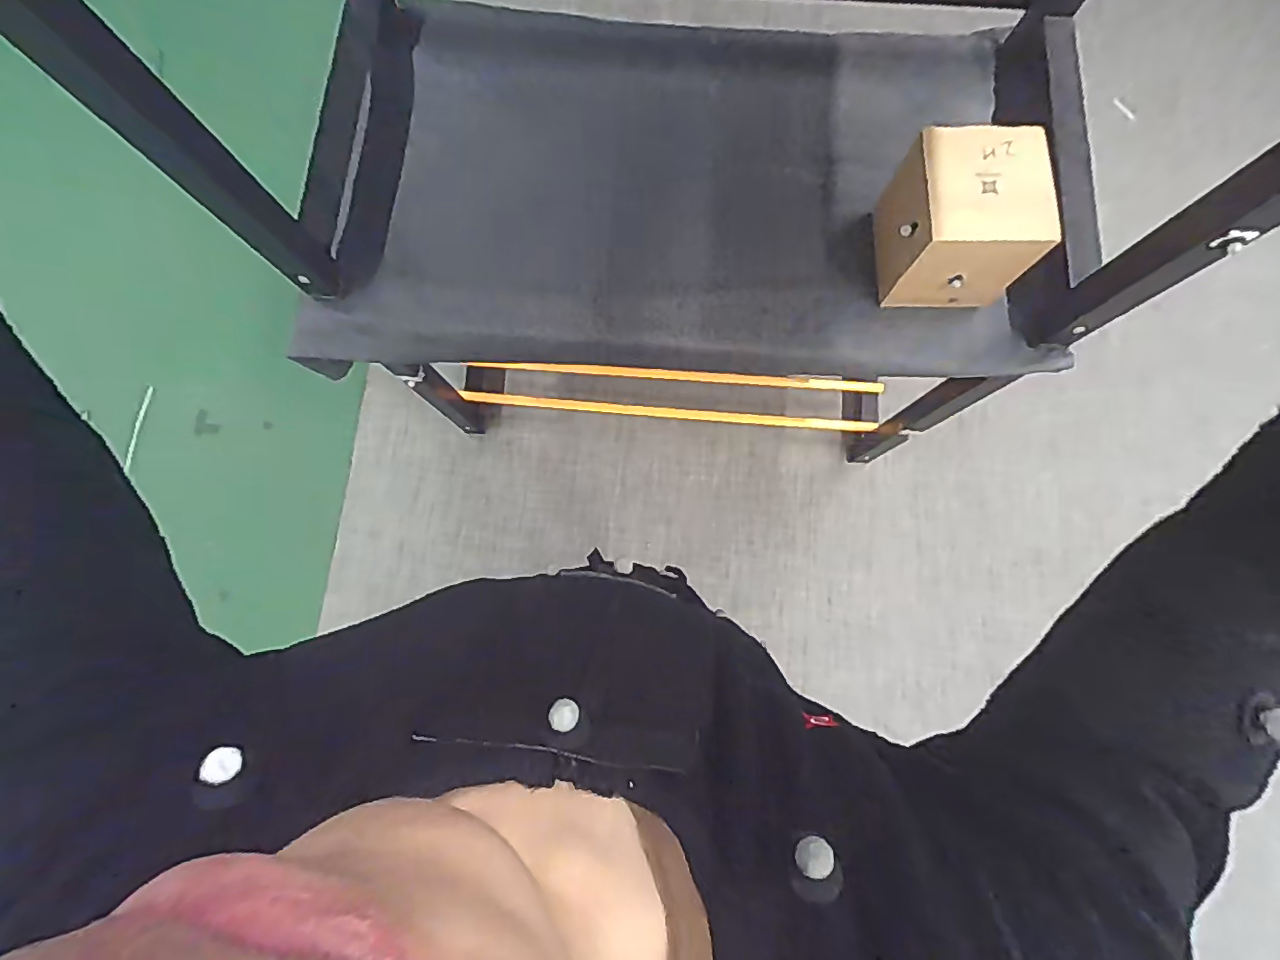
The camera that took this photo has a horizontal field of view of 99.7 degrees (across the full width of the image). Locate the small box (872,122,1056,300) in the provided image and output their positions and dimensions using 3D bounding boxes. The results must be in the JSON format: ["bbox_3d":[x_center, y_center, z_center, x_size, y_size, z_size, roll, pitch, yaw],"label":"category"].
[{"bbox_3d":[0.458,-0.381,0.791,0.168,0.176,0.179,1,79,1],"label":"small box"}]
